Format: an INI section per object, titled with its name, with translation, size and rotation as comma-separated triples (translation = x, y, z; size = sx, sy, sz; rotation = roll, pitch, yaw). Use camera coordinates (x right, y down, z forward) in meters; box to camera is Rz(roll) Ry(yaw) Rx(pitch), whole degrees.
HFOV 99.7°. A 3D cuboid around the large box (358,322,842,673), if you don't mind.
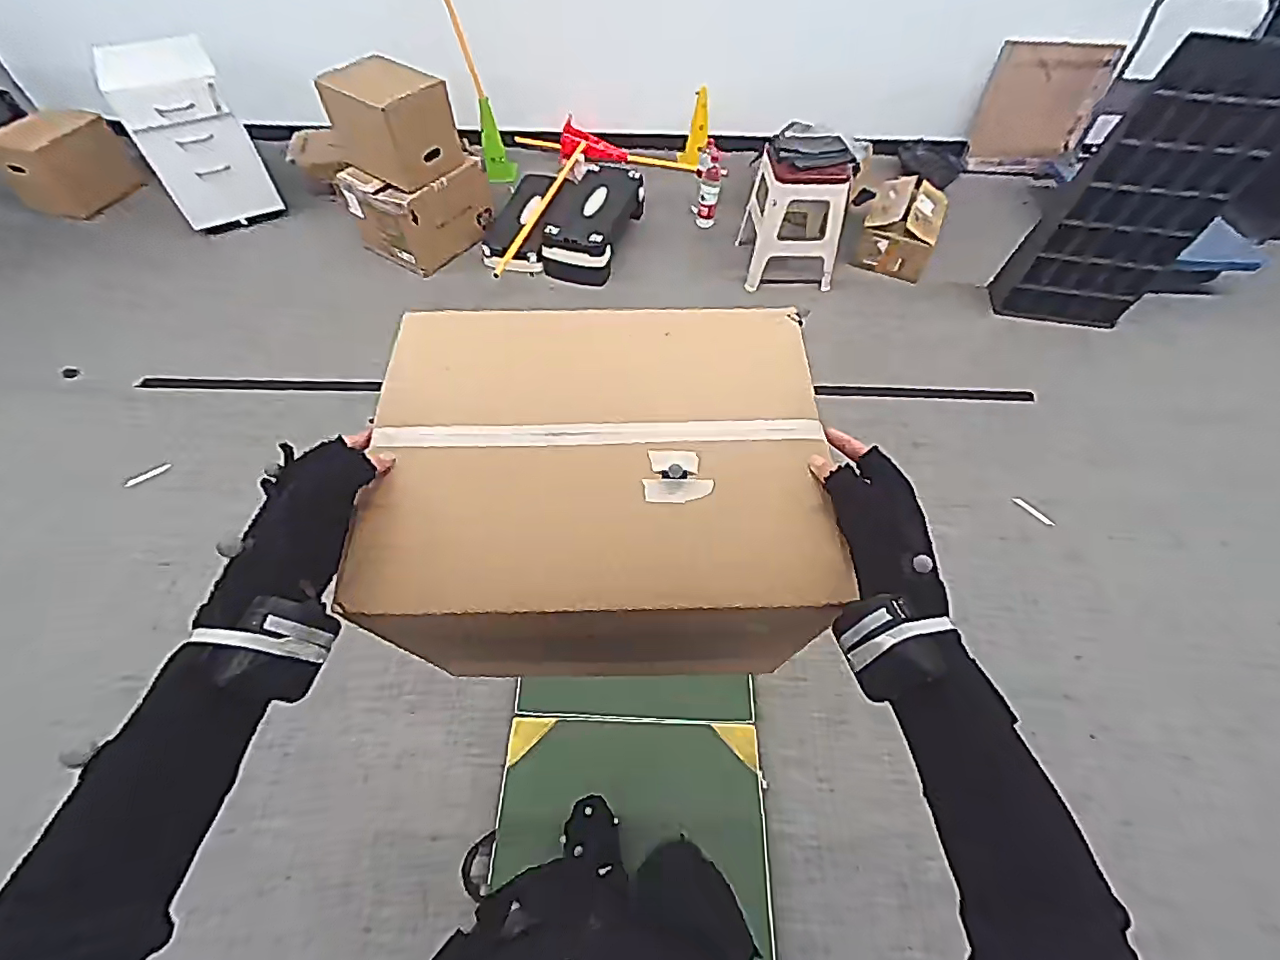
[large box]
translation = -0.038, 0.037, 0.639
size = 0.408, 0.320, 0.320
rotation = -1, 62, -2
